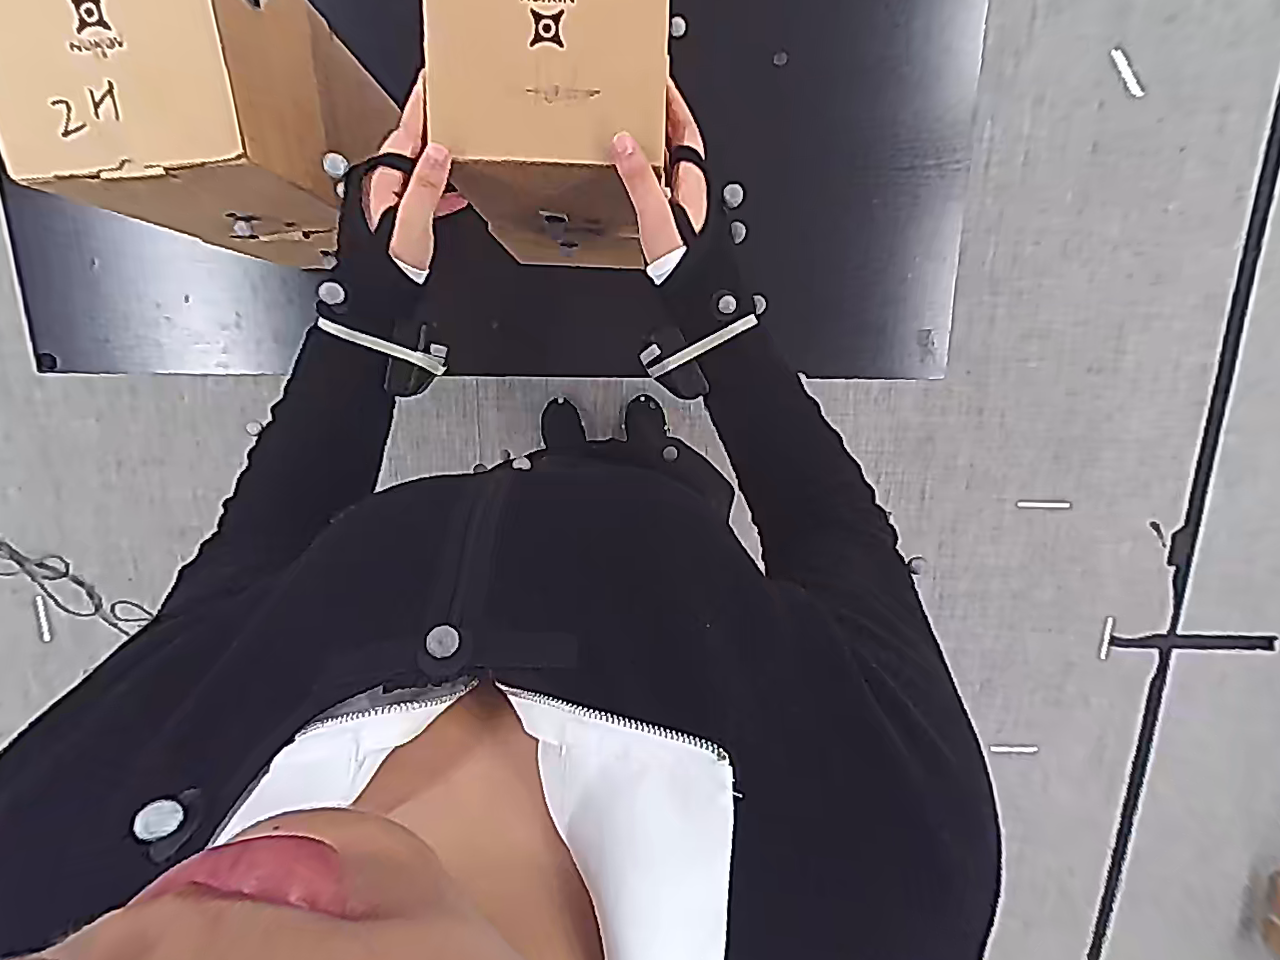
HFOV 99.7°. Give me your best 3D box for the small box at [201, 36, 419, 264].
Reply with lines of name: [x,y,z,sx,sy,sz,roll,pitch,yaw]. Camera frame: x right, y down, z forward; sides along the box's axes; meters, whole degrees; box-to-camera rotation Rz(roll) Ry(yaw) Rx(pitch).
small box: [-0.365,-0.345,0.603,0.168,0.176,0.179,-4,102,0]

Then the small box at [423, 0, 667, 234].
small box: [-0.066,-0.322,0.445,0.168,0.176,0.179,2,100,0]

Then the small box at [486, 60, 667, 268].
small box: [-0.066,-0.343,0.609,0.179,0.176,0.168,2,101,-2]

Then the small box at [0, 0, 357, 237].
small box: [-0.361,-0.316,0.439,0.168,0.176,0.179,-5,101,0]
